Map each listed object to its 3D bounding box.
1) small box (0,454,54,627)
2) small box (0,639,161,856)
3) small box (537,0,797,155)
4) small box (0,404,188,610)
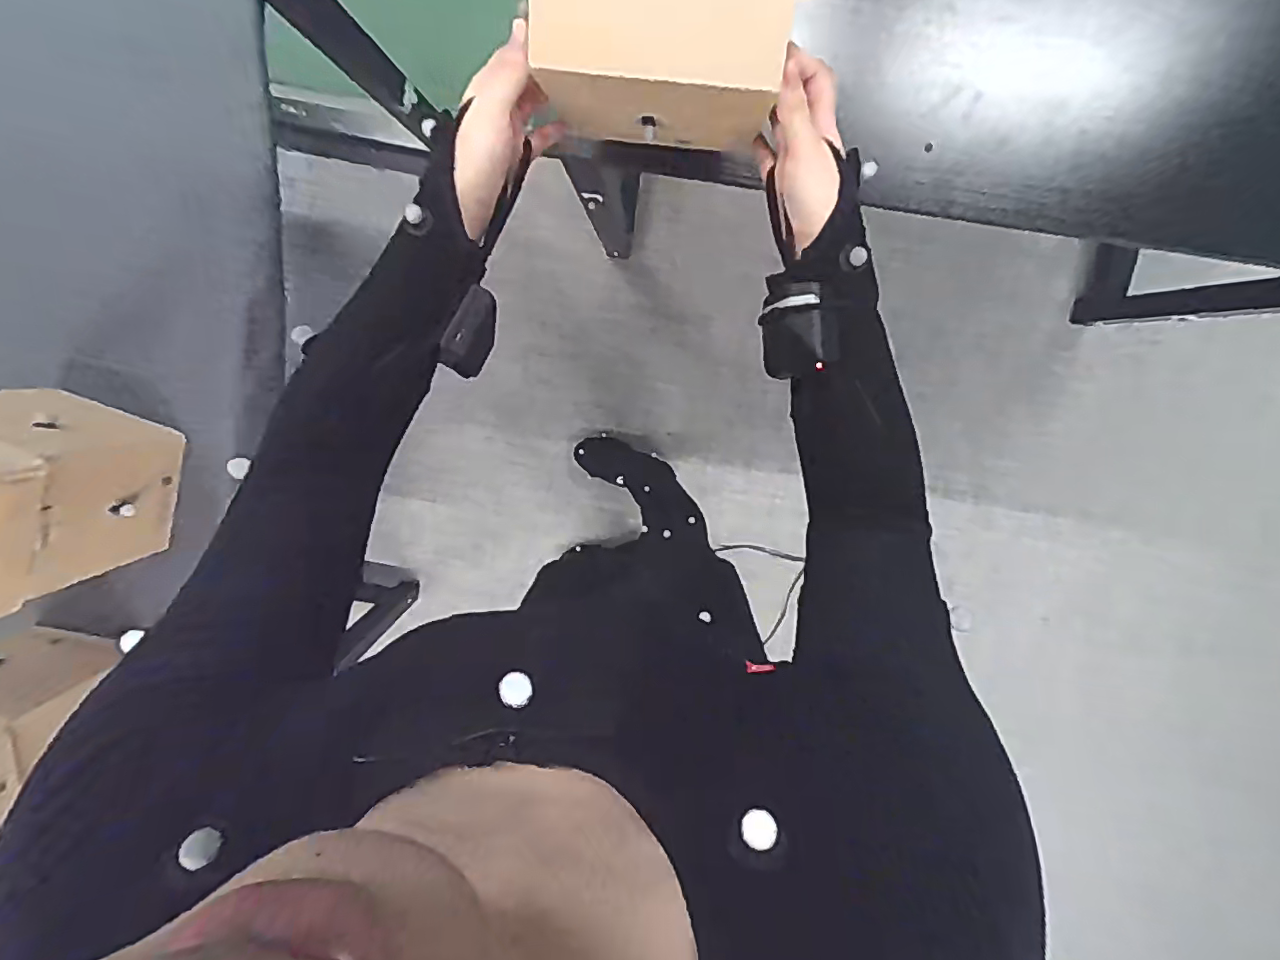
[{"bbox_3d":[-0.674,0.052,0.461,0.168,0.176,0.179,24,103,-2],"label":"small box"},{"bbox_3d":[-0.769,0.329,0.695,0.168,0.176,0.179,9,103,2],"label":"small box"},{"bbox_3d":[0.026,-0.360,0.401,0.168,0.176,0.179,6,110,1],"label":"small box"},{"bbox_3d":[-0.676,0.018,0.621,0.179,0.176,0.168,19,103,-2],"label":"small box"}]
